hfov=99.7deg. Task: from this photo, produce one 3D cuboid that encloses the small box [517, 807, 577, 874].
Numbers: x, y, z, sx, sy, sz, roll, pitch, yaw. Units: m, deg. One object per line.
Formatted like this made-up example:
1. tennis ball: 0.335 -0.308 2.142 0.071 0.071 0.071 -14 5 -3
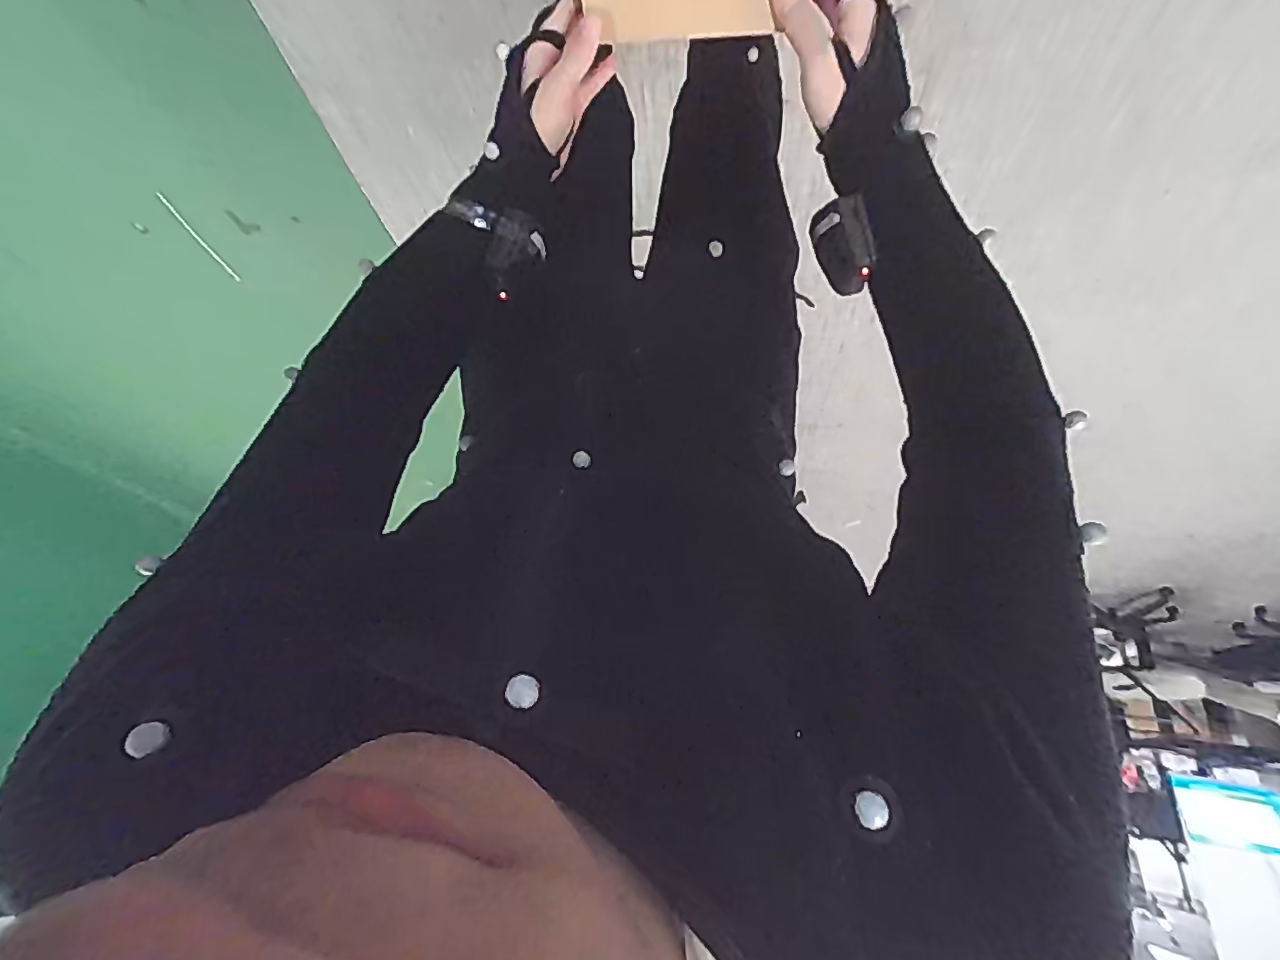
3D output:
1. small box: -0.332 1.317 1.983 0.179 0.176 0.168 5 154 7
